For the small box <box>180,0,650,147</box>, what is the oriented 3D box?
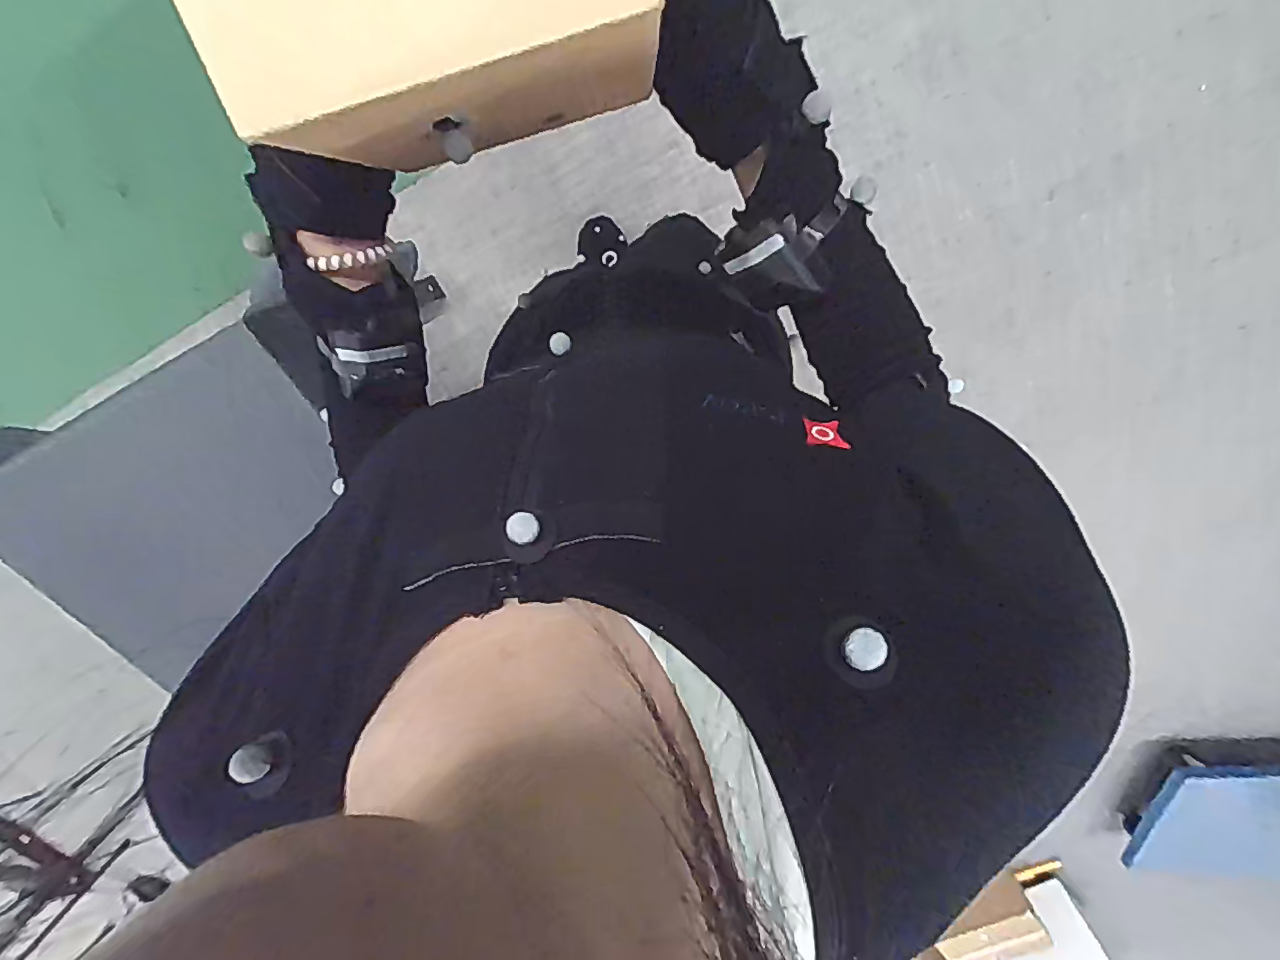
[{"bbox_3d":[-0.091,-0.262,0.231,0.168,0.176,0.179,-13,114,6],"label":"small box"}]
